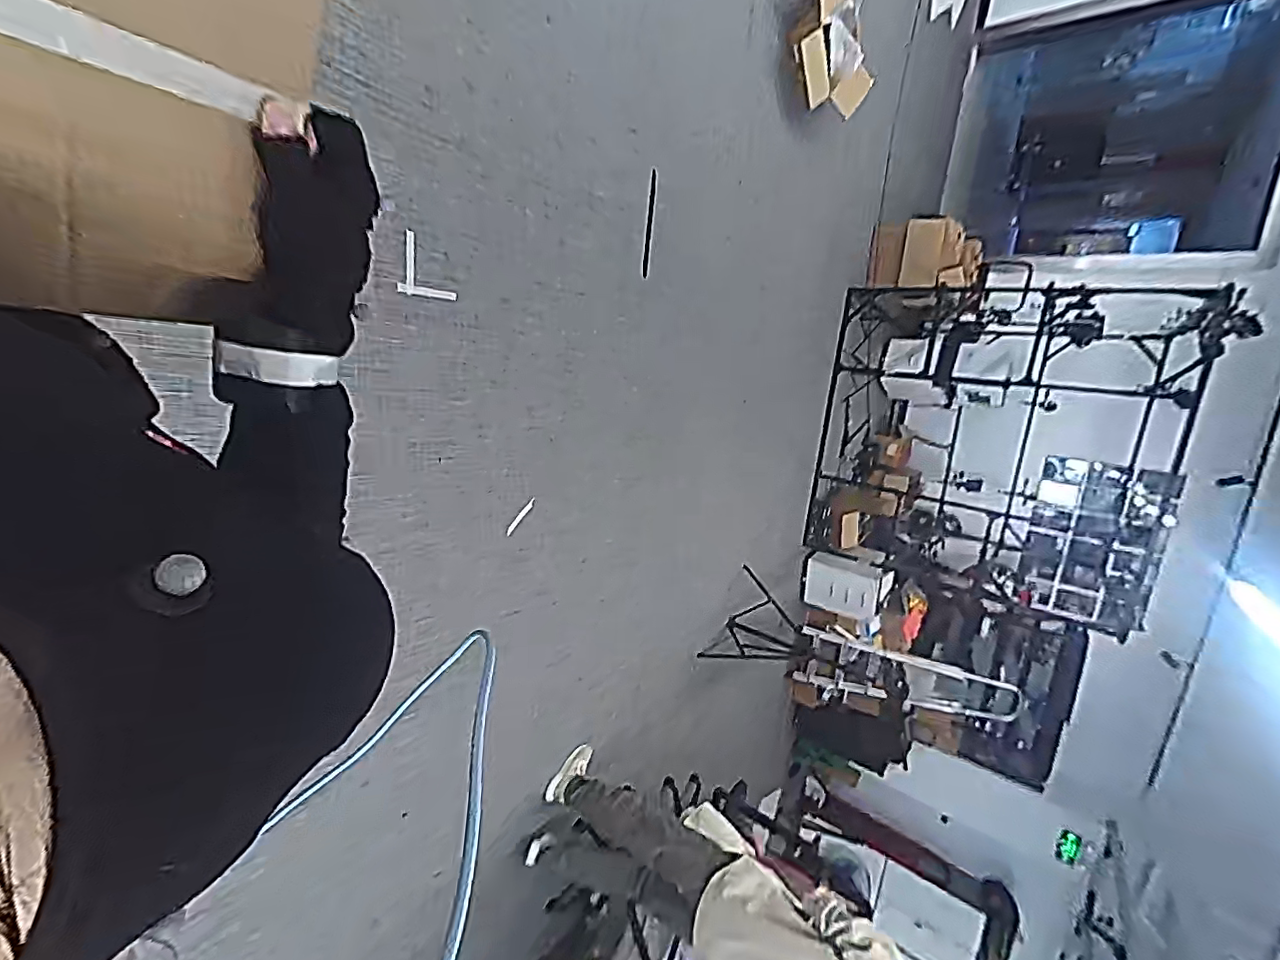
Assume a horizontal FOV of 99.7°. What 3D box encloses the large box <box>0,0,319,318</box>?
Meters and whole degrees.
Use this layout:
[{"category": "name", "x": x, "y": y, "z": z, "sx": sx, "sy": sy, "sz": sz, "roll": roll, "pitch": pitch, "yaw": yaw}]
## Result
[{"category": "large box", "x": -0.426, "y": -0.313, "z": 0.242, "sx": 0.408, "sy": 0.320, "sz": 0.320, "roll": -9, "pitch": 144, "yaw": -50}]
